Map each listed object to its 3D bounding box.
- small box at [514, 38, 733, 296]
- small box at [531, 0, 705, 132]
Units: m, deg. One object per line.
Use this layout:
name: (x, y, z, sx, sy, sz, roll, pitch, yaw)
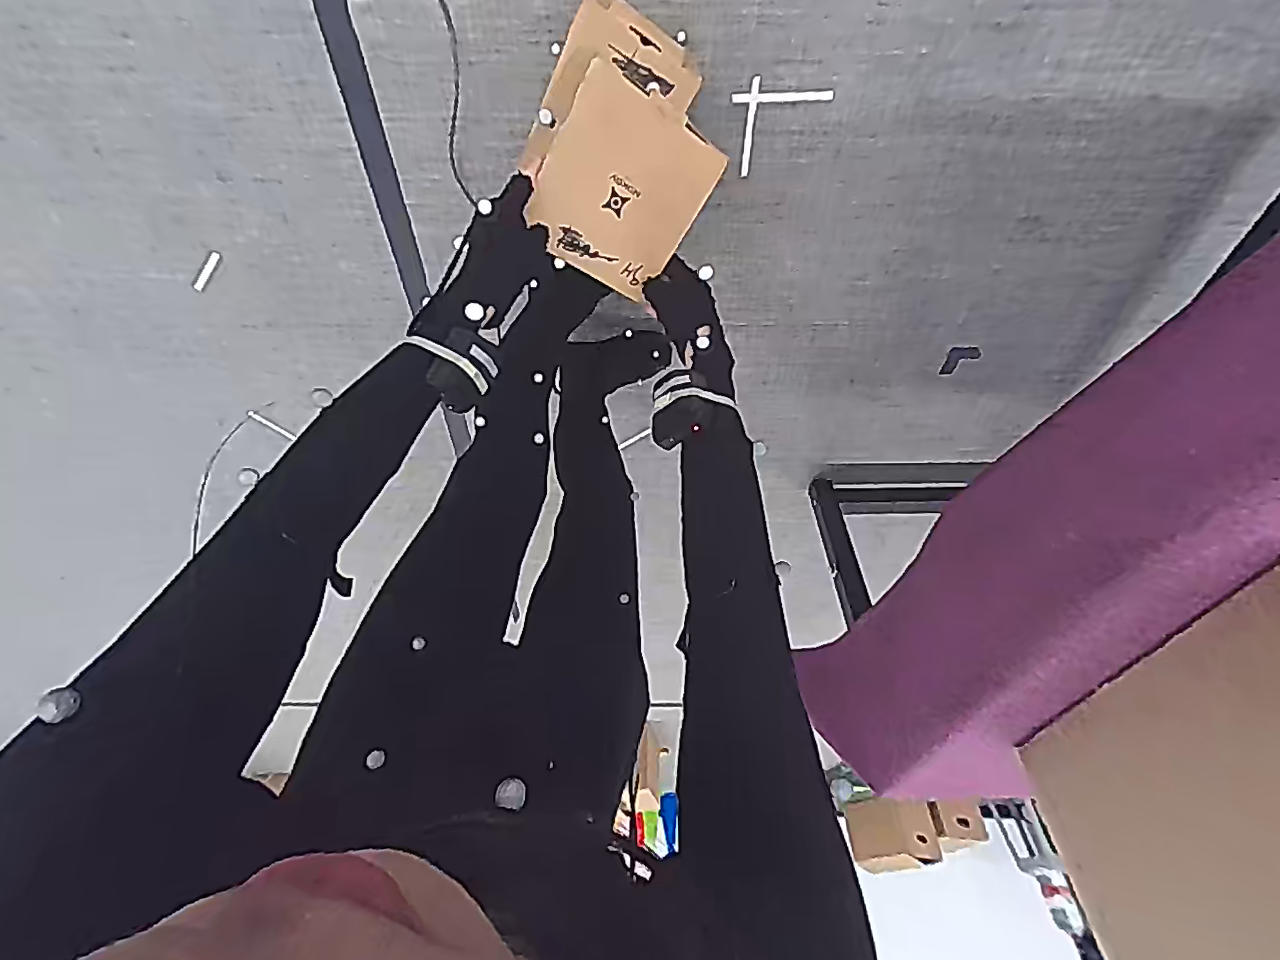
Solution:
small box: (-0.033, -0.348, 0.604, 0.168, 0.176, 0.179, 22, 120, -29)
small box: (-0.033, -0.534, 0.742, 0.168, 0.176, 0.179, 23, 133, -22)
